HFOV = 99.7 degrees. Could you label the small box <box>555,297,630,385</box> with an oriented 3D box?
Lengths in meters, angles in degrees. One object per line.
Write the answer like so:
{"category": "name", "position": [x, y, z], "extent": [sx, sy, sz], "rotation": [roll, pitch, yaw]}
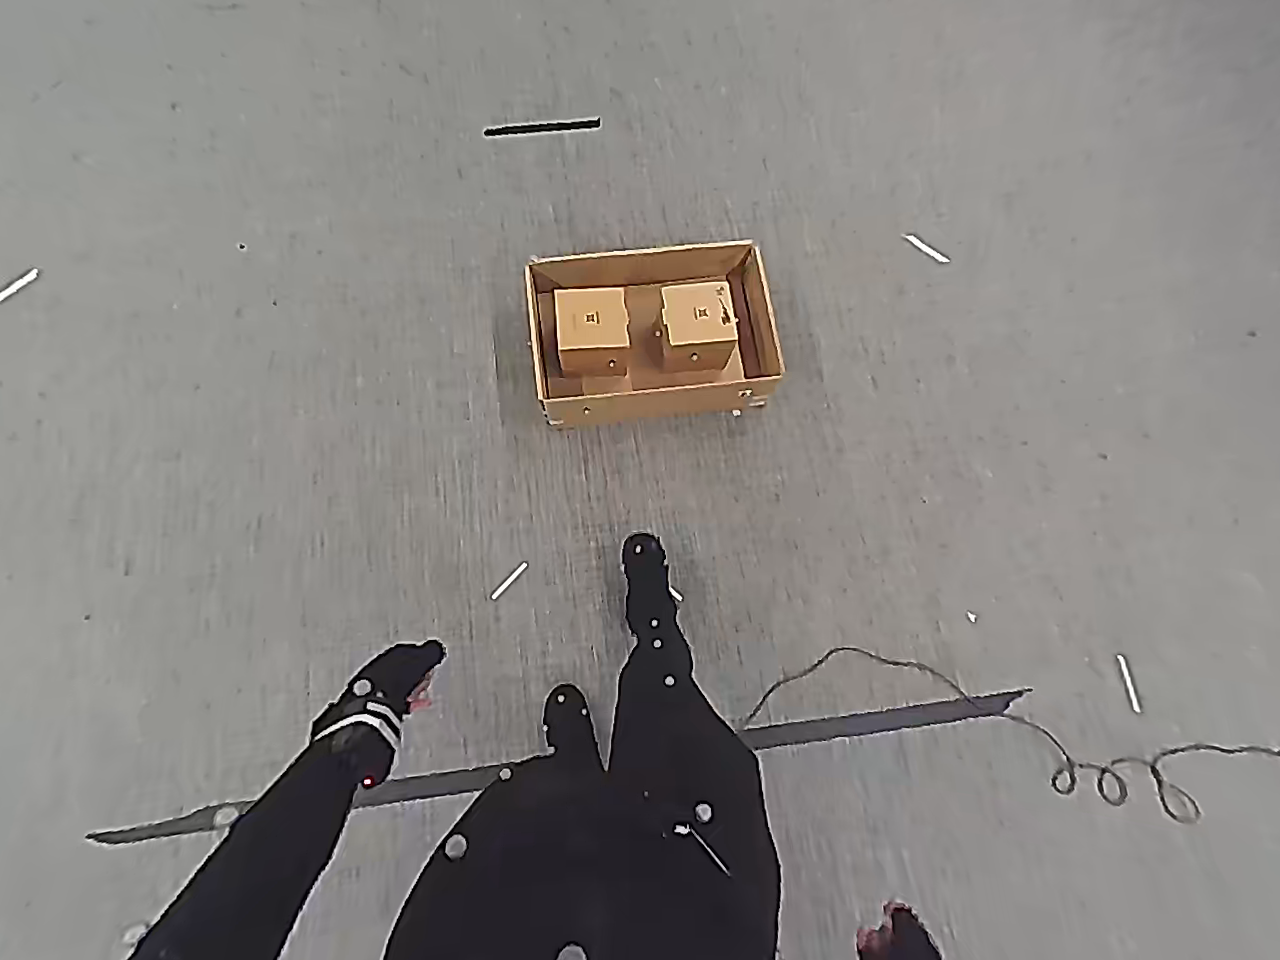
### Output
{"category": "small box", "position": [-0.125, -0.358, 1.410], "extent": [0.179, 0.176, 0.168], "rotation": [-4, 76, -5]}

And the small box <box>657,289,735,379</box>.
{"category": "small box", "position": [0.140, -0.379, 1.432], "extent": [0.179, 0.176, 0.168], "rotation": [-7, 77, -3]}
